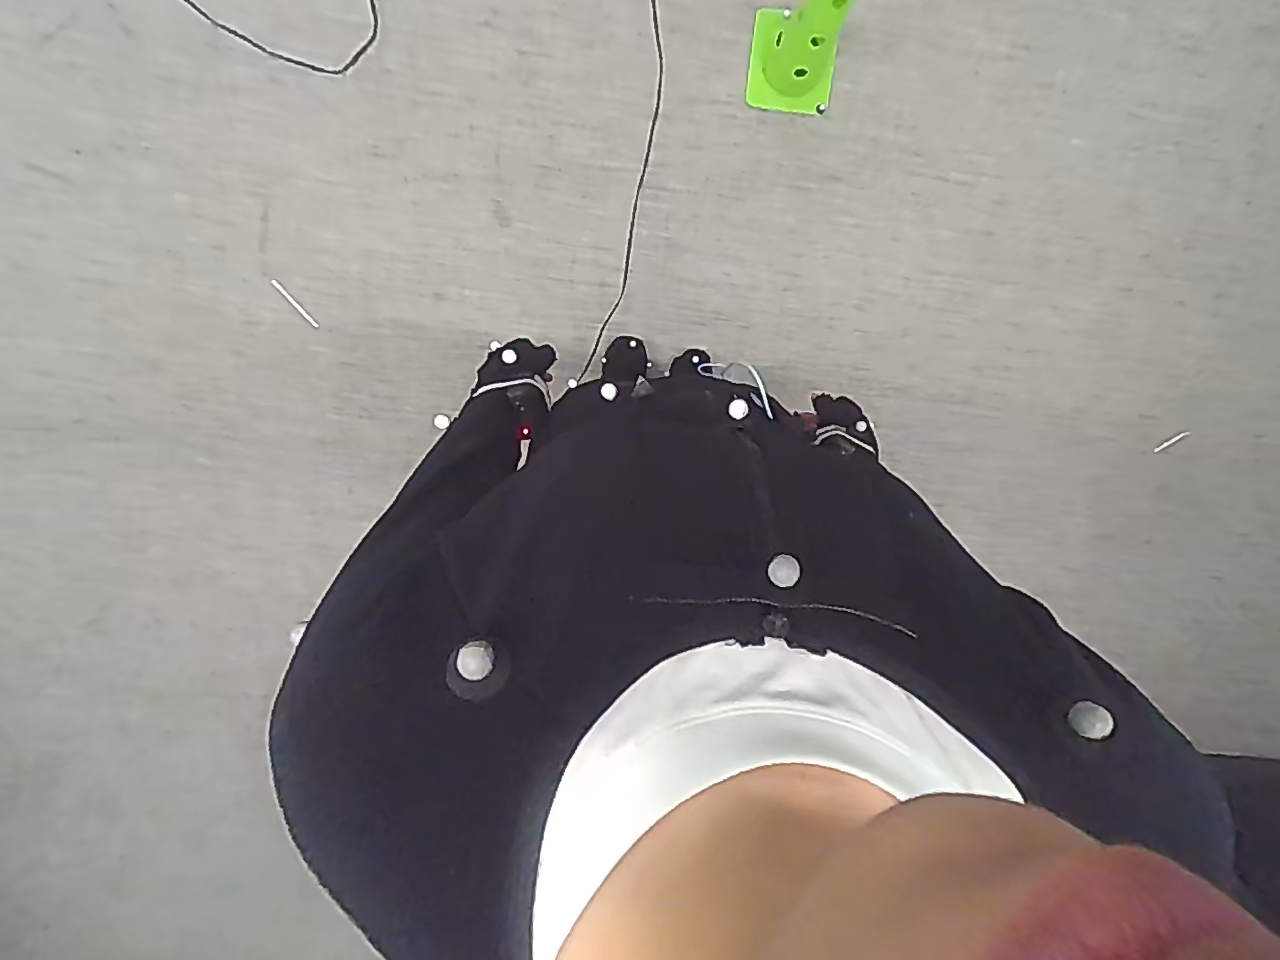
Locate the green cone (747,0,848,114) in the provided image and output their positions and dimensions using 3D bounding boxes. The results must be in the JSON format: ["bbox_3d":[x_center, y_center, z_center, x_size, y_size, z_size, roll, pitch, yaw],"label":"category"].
[{"bbox_3d":[0.364,-0.937,1.096,0.202,0.368,0.200,5,103,-3],"label":"green cone"}]
